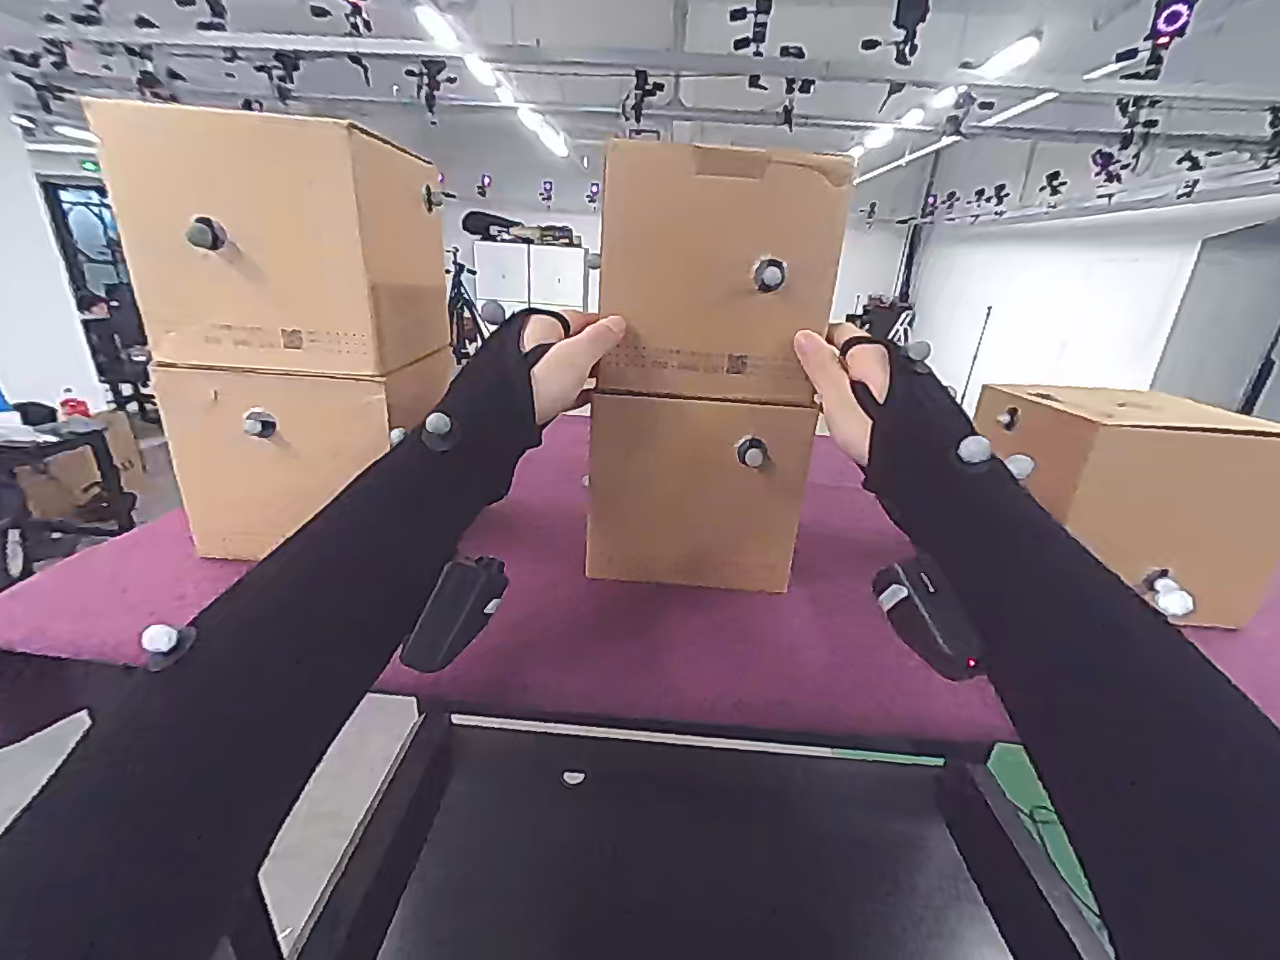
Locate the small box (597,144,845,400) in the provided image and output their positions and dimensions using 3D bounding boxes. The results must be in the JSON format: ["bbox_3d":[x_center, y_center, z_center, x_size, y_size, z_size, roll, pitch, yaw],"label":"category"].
[{"bbox_3d":[0.055,-0.168,0.461,0.168,0.176,0.179,5,20,2],"label":"small box"}]

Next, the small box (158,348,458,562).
[{"bbox_3d":[-0.285,-0.035,0.510,0.179,0.176,0.168,4,21,-2],"label":"small box"}]

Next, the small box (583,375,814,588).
[{"bbox_3d":[0.046,-0.013,0.512,0.179,0.176,0.168,5,21,2],"label":"small box"}]

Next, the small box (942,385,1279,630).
[{"bbox_3d":[0.418,0.018,0.496,0.179,0.176,0.168,5,20,1],"label":"small box"}]

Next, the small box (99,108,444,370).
[{"bbox_3d":[-0.274,-0.188,0.456,0.168,0.176,0.179,3,20,-2],"label":"small box"}]
